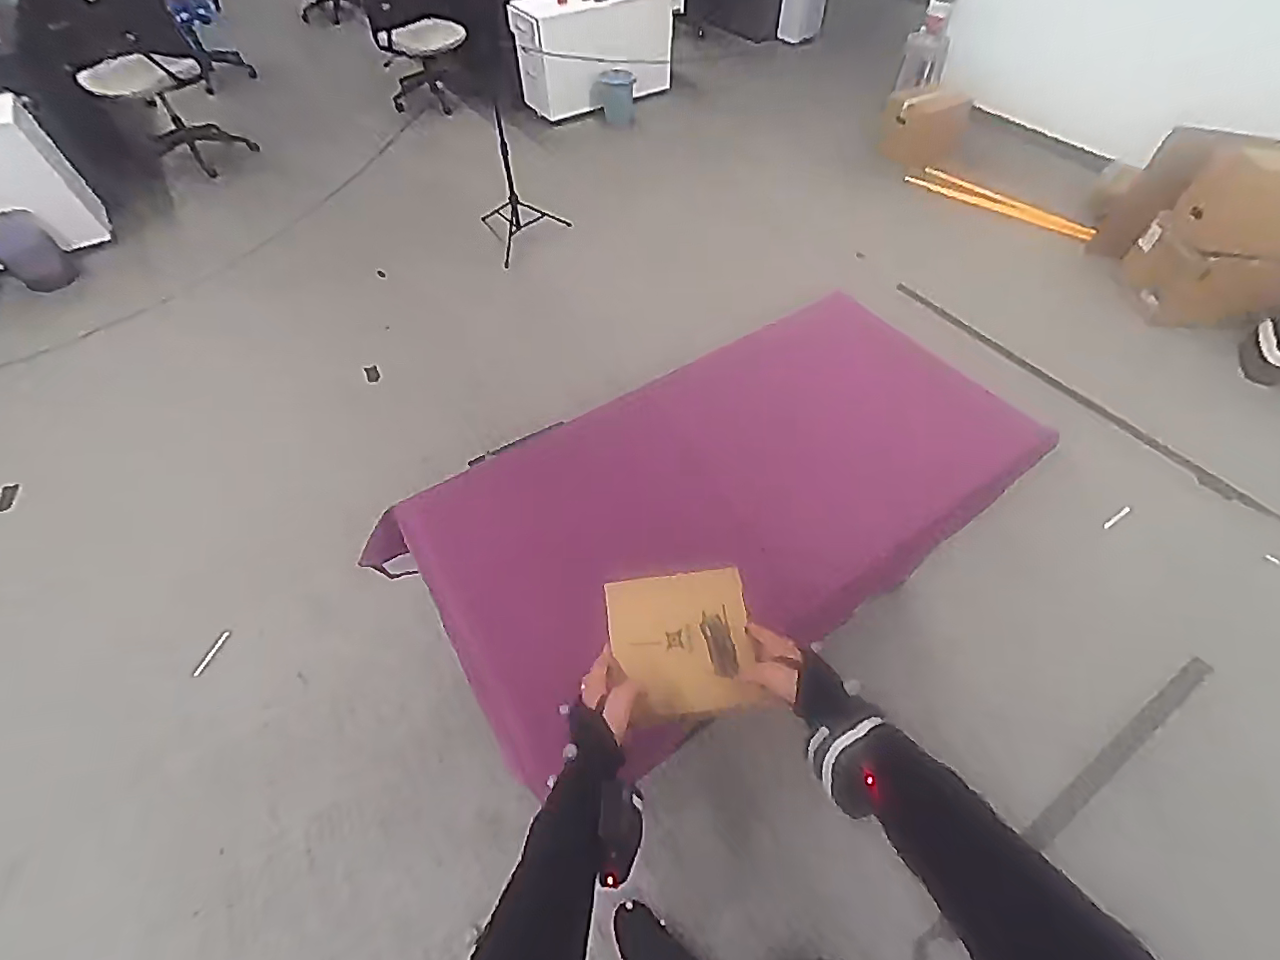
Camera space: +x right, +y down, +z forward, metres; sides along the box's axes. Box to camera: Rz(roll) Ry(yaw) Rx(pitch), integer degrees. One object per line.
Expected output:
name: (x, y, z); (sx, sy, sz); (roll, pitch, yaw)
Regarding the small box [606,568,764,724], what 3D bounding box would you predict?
small box: (0.051, 0.229, 0.731); (0.179, 0.176, 0.168); (-7, 63, -2)
